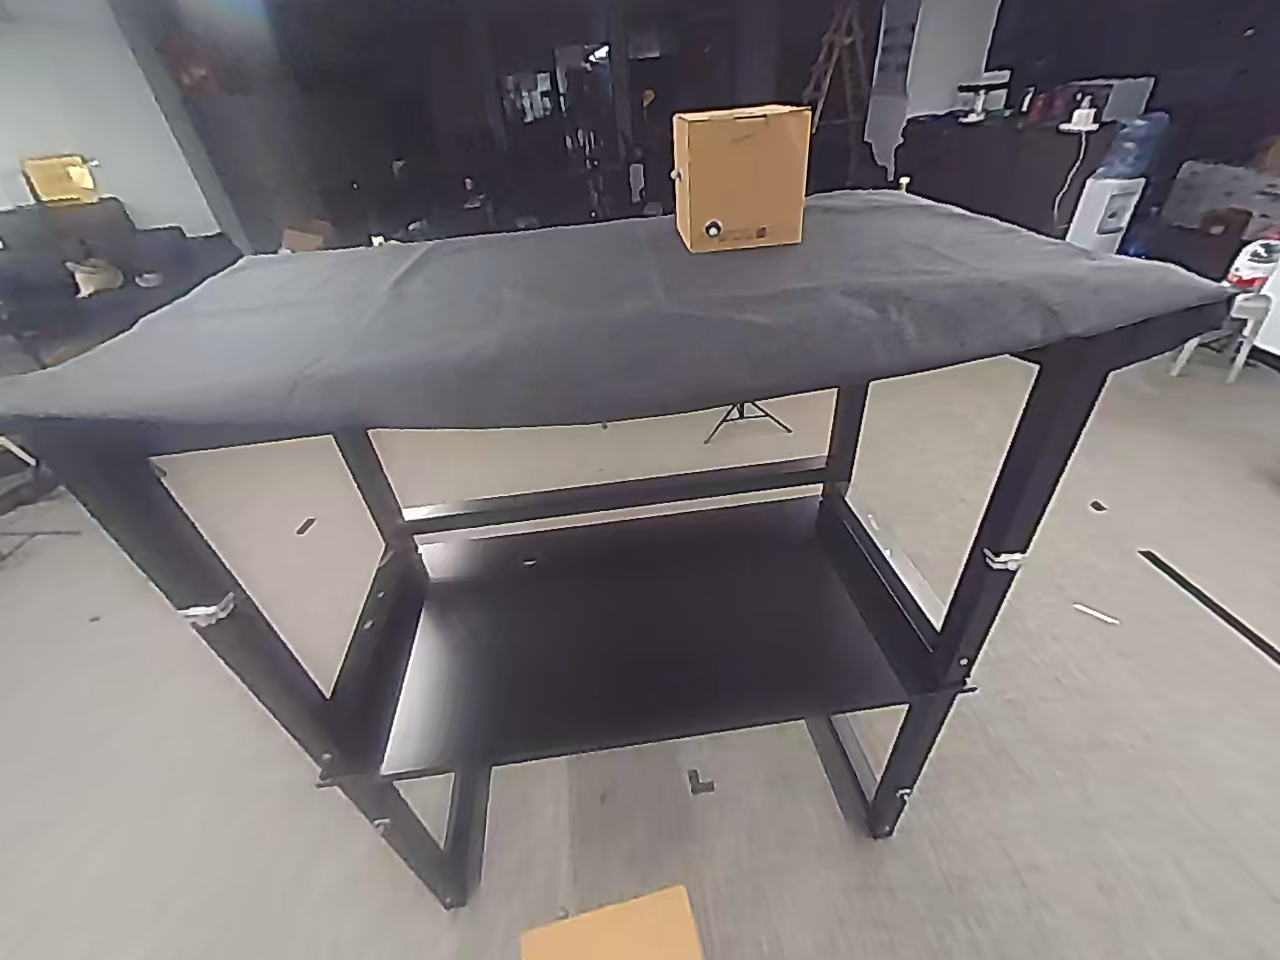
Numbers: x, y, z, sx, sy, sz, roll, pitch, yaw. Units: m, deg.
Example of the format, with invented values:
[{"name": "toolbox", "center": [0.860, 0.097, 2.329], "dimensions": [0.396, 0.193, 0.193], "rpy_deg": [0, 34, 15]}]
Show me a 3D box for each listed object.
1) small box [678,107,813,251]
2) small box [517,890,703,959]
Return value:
[{"name": "small box", "center": [0.151, -0.453, 0.820], "dimensions": [0.168, 0.176, 0.179], "rpy_deg": [-5, 36, 0]}, {"name": "small box", "center": [-0.013, 0.544, 0.543], "dimensions": [0.179, 0.176, 0.168], "rpy_deg": [-14, 44, -3]}]
